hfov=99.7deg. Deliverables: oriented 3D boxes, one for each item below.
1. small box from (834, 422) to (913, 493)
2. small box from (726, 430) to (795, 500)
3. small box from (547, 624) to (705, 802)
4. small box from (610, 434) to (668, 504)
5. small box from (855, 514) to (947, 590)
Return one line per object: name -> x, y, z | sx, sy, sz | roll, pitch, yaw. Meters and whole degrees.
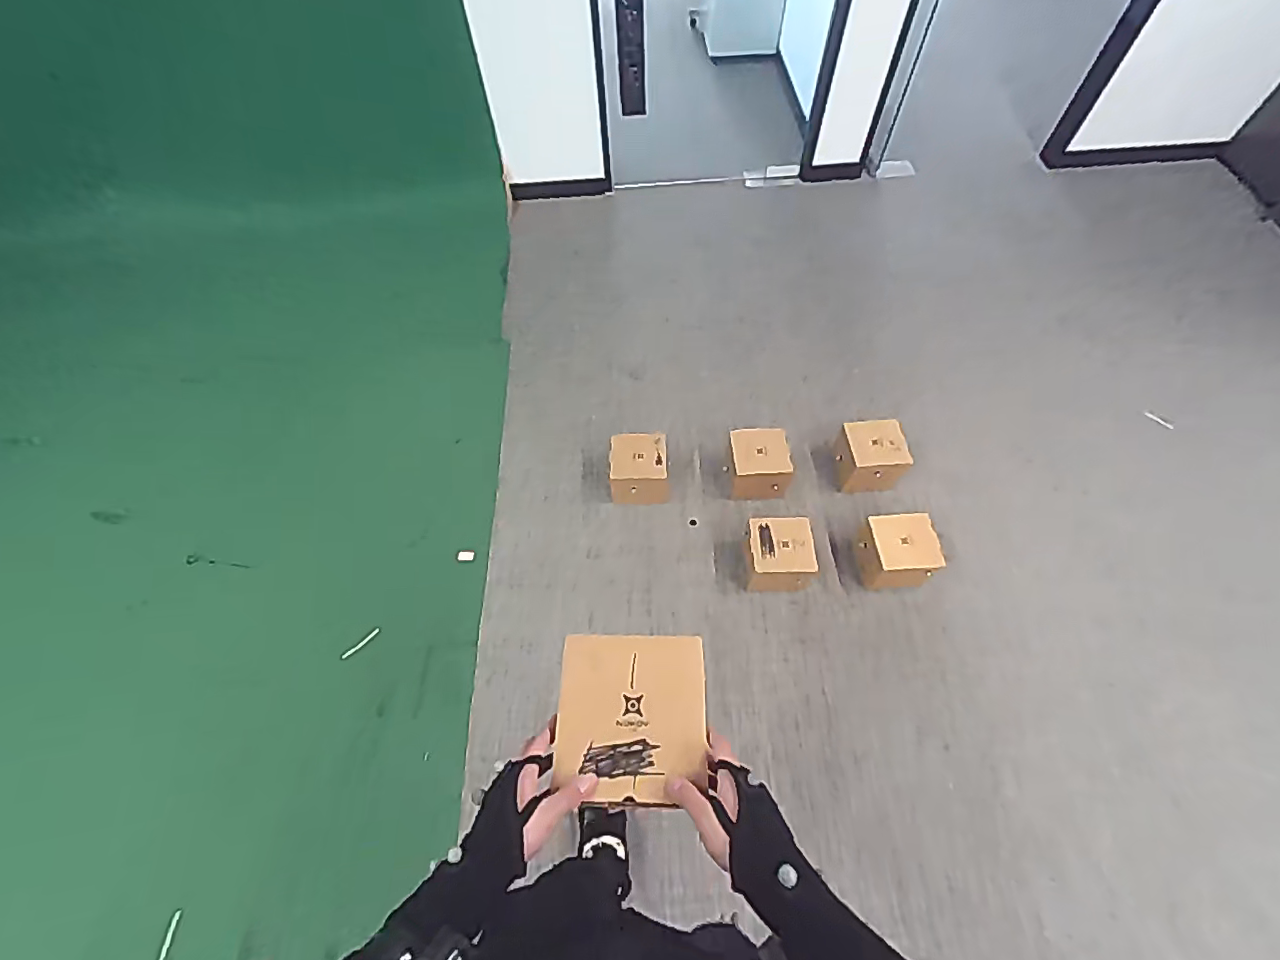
small box -> 0.735, -0.069, 1.729 | 0.179, 0.176, 0.168 | -3, 60, -1
small box -> 0.378, -0.045, 1.728 | 0.179, 0.176, 0.168 | -3, 59, 1
small box -> -0.011, 0.289, 0.659 | 0.168, 0.176, 0.179 | 2, 58, 0
small box -> 0.001, -0.032, 1.732 | 0.179, 0.176, 0.168 | -1, 60, 2
small box -> 0.743, 0.214, 1.569 | 0.179, 0.176, 0.168 | -3, 60, -1
